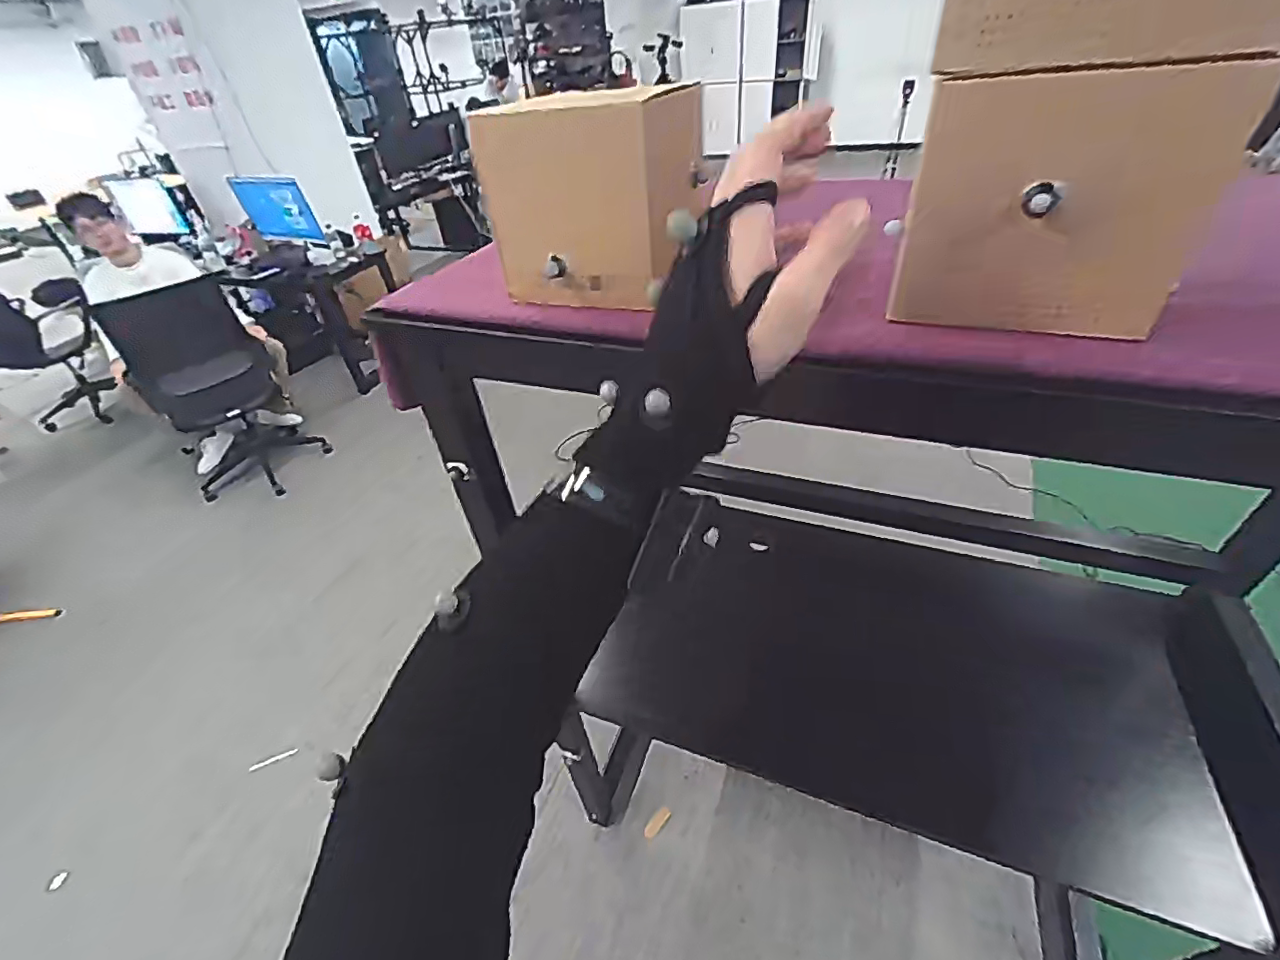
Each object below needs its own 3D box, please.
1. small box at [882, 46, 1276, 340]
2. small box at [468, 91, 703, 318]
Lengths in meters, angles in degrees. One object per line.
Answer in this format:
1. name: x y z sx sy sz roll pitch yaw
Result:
1. small box: 0.307 -0.223 0.428 0.179 0.176 0.168 11 41 22
2. small box: -0.039 -0.280 0.547 0.168 0.176 0.179 9 41 19
